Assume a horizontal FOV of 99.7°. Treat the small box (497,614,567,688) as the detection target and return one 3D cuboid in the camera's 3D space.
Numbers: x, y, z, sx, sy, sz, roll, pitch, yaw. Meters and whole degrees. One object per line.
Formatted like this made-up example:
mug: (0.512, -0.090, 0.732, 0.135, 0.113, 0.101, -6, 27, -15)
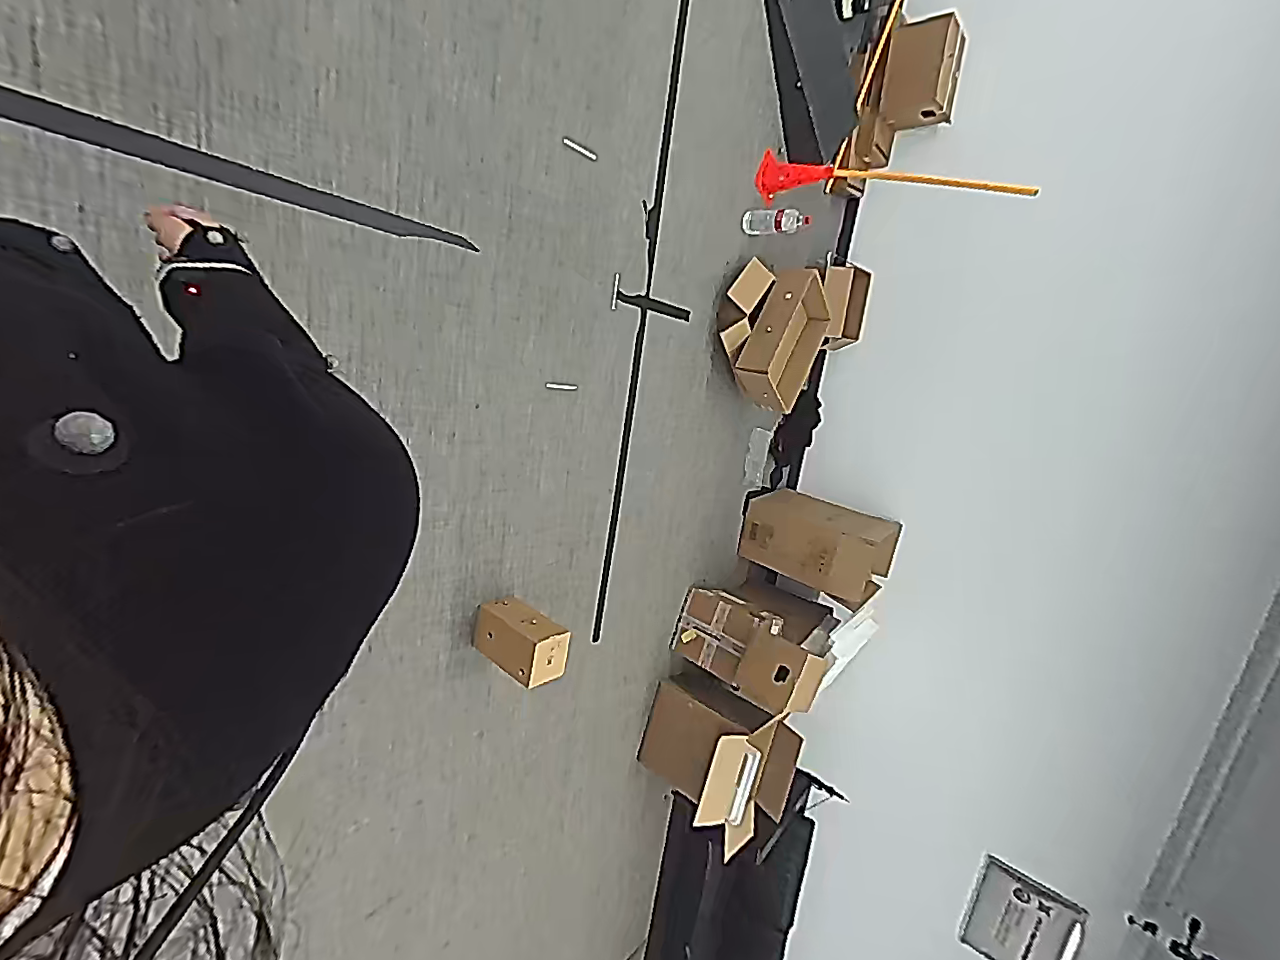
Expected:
small box: (-0.389, 0.603, 1.931, 0.168, 0.176, 0.179, -2, 105, -53)
